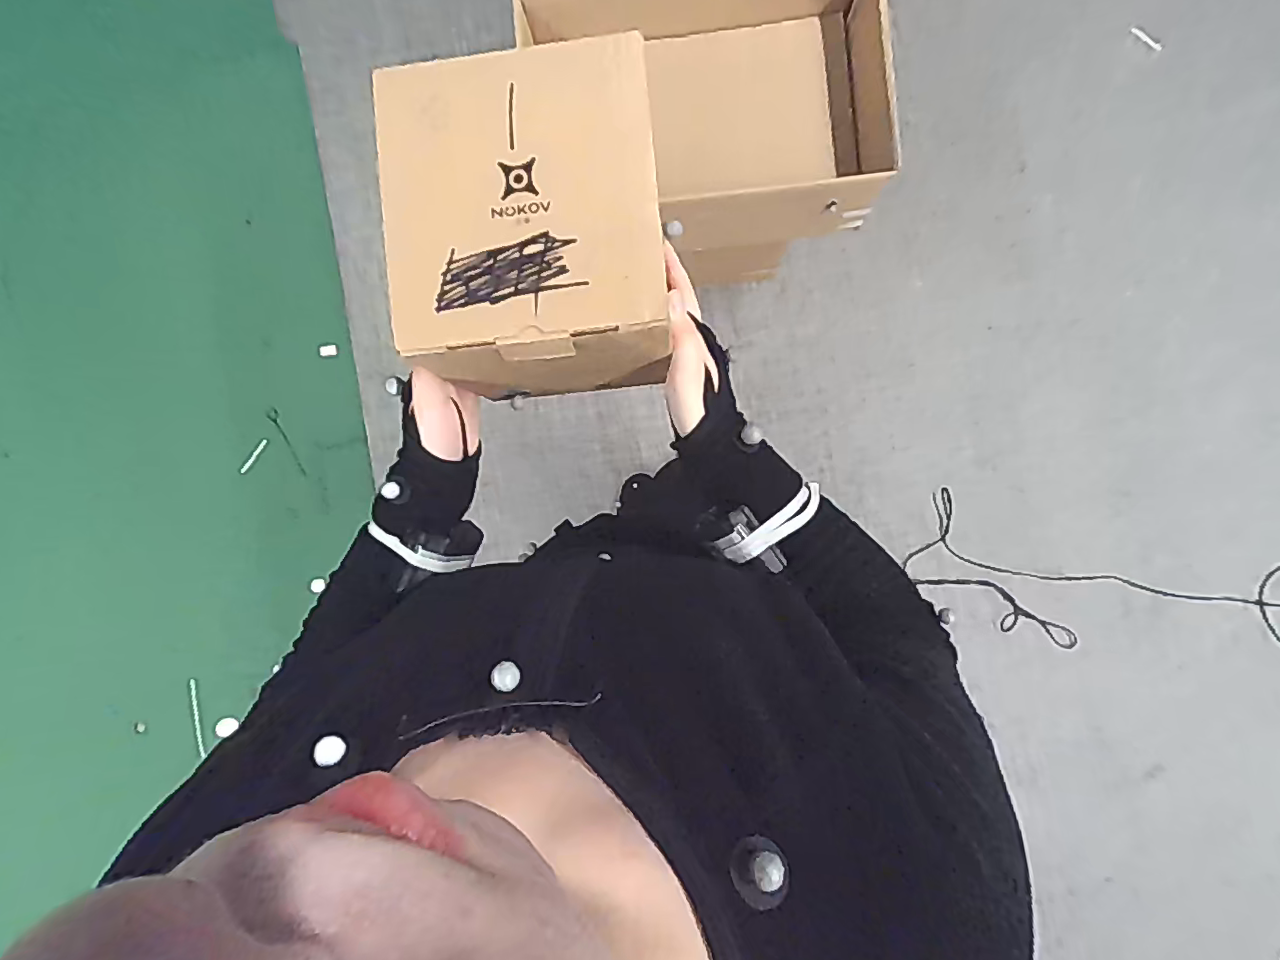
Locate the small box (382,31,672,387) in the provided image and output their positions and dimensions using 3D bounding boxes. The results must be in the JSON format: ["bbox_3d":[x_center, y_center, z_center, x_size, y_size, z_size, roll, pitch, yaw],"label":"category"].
[{"bbox_3d":[-0.064,-0.170,0.401,0.168,0.176,0.179,-5,88,3],"label":"small box"}]
